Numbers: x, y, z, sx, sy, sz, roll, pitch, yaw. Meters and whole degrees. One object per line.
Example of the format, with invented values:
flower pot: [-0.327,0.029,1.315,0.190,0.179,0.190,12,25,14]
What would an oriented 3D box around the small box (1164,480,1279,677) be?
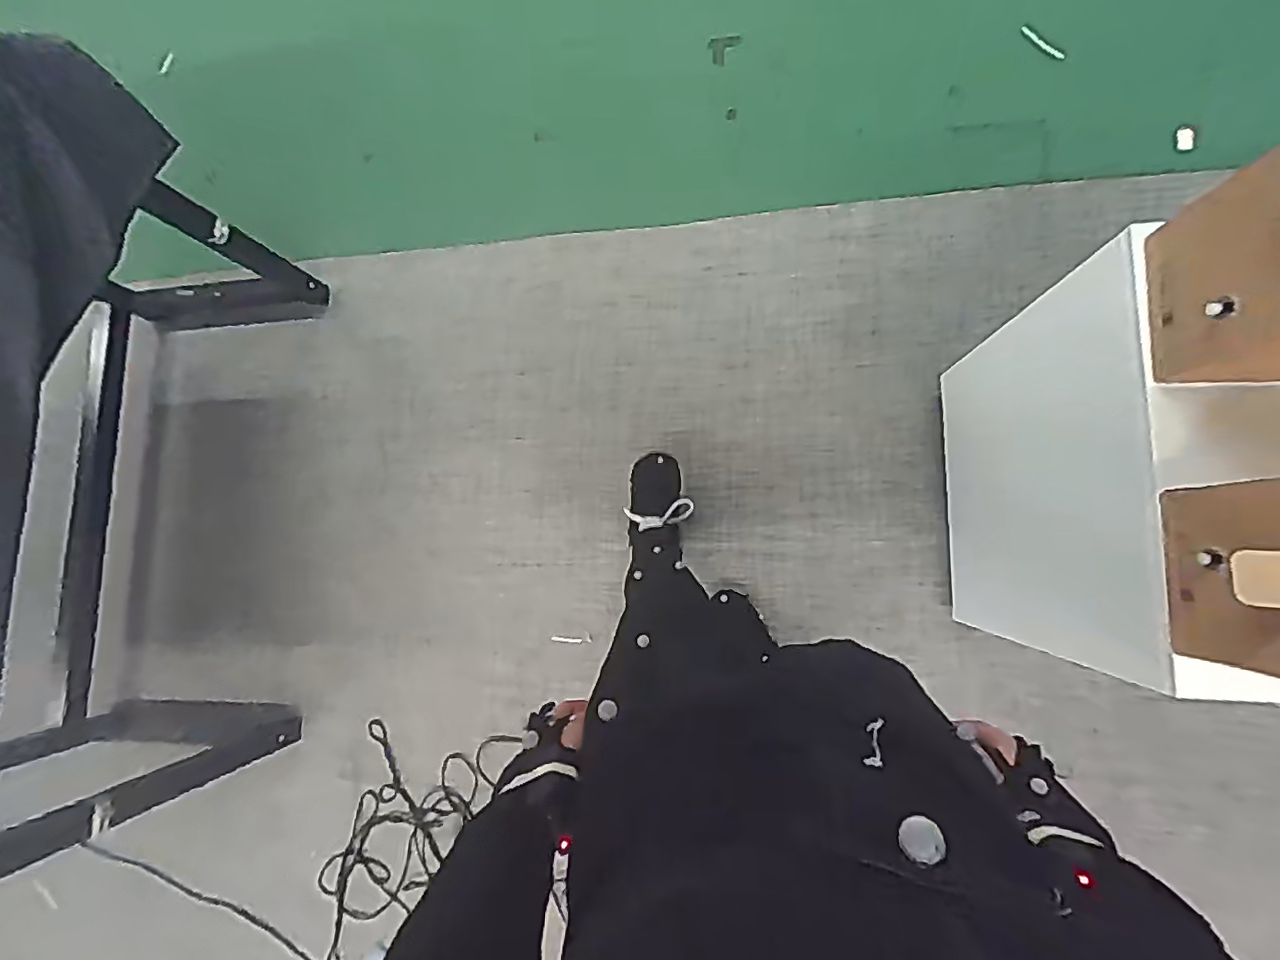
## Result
small box: [0.610,0.084,0.457,0.179,0.176,0.168,0,83,9]

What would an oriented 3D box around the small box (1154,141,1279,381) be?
small box: [0.617,-0.190,0.488,0.179,0.176,0.168,0,85,8]
